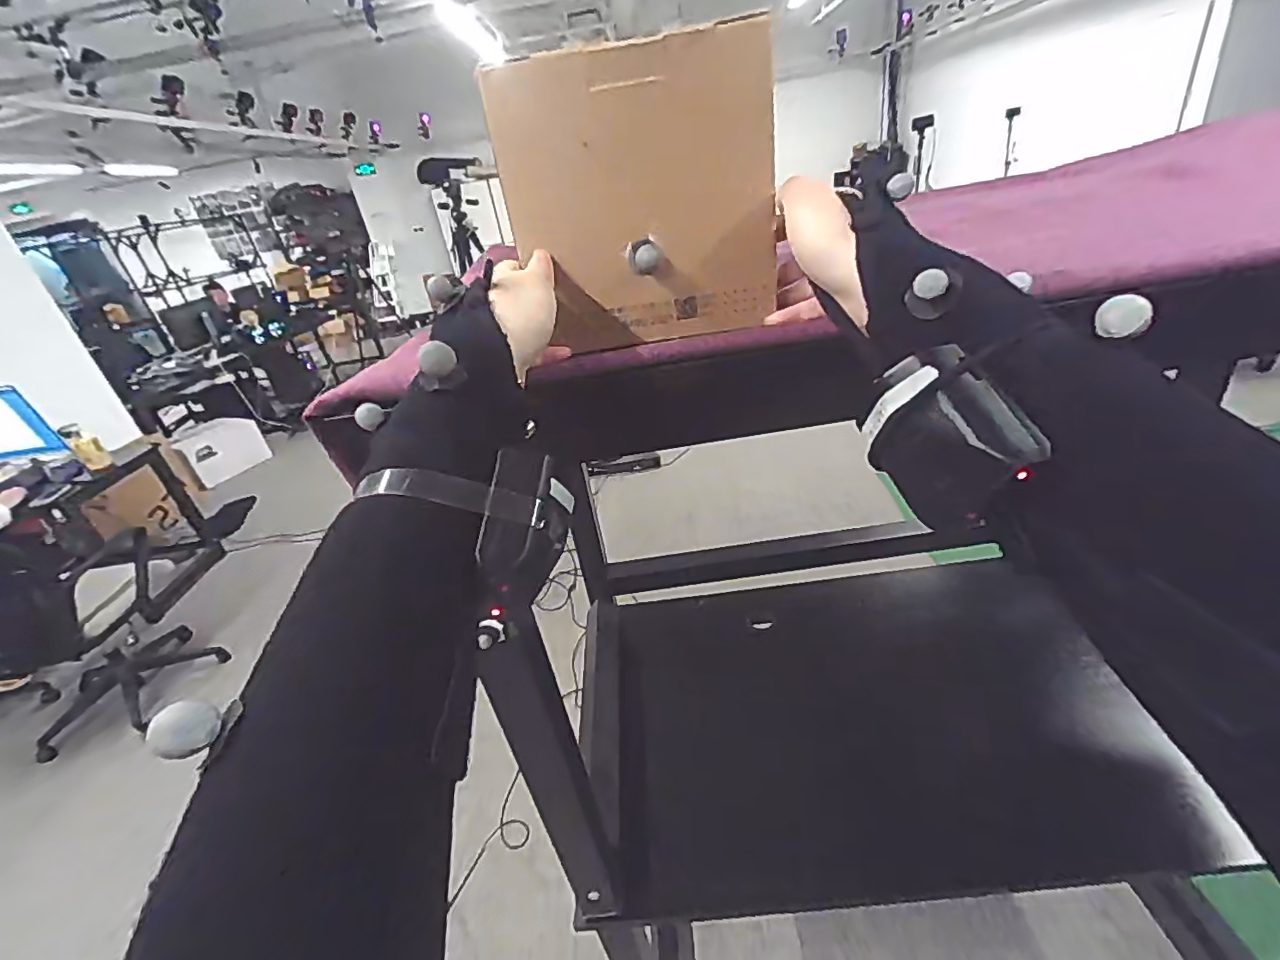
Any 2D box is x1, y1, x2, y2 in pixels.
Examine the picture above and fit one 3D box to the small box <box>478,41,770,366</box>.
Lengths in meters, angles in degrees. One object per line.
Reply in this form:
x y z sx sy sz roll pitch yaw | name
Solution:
-0.001 -0.197 0.409 0.168 0.176 0.179 -8 29 4 | small box
